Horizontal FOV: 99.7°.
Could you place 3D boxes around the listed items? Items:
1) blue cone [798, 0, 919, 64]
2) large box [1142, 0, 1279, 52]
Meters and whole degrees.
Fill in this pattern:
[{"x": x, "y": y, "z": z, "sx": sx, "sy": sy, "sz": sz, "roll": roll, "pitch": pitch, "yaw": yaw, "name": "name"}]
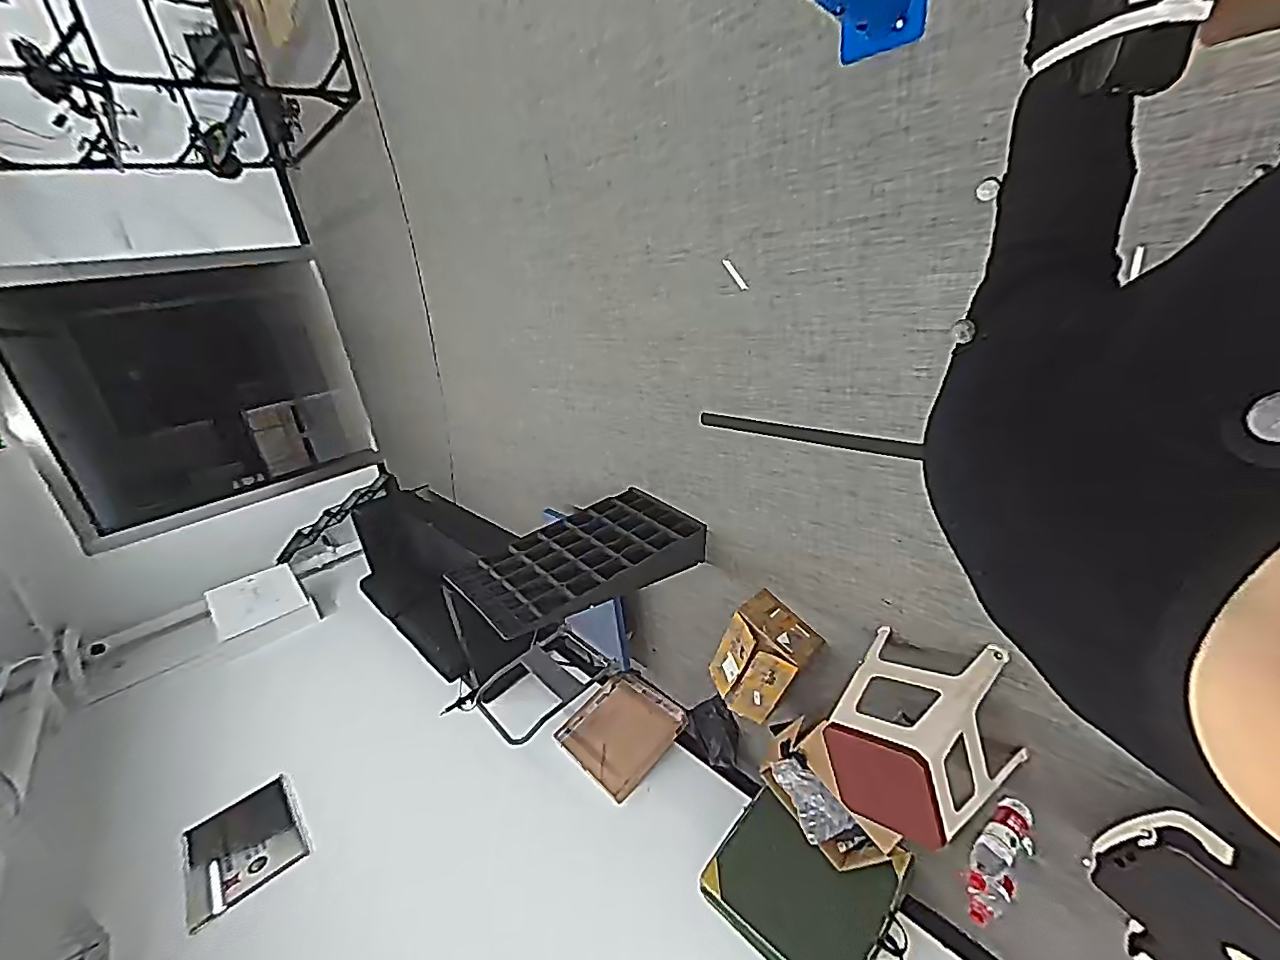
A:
[{"x": 0.427, "y": -1.040, "z": 1.149, "sx": 0.192, "sy": 0.380, "sz": 0.193, "roll": 22, "pitch": 126, "yaw": 45, "name": "blue cone"}, {"x": 0.542, "y": -0.466, "z": 0.245, "sx": 0.408, "sy": 0.320, "sz": 0.320, "roll": 15, "pitch": 124, "yaw": 46, "name": "large box"}]
